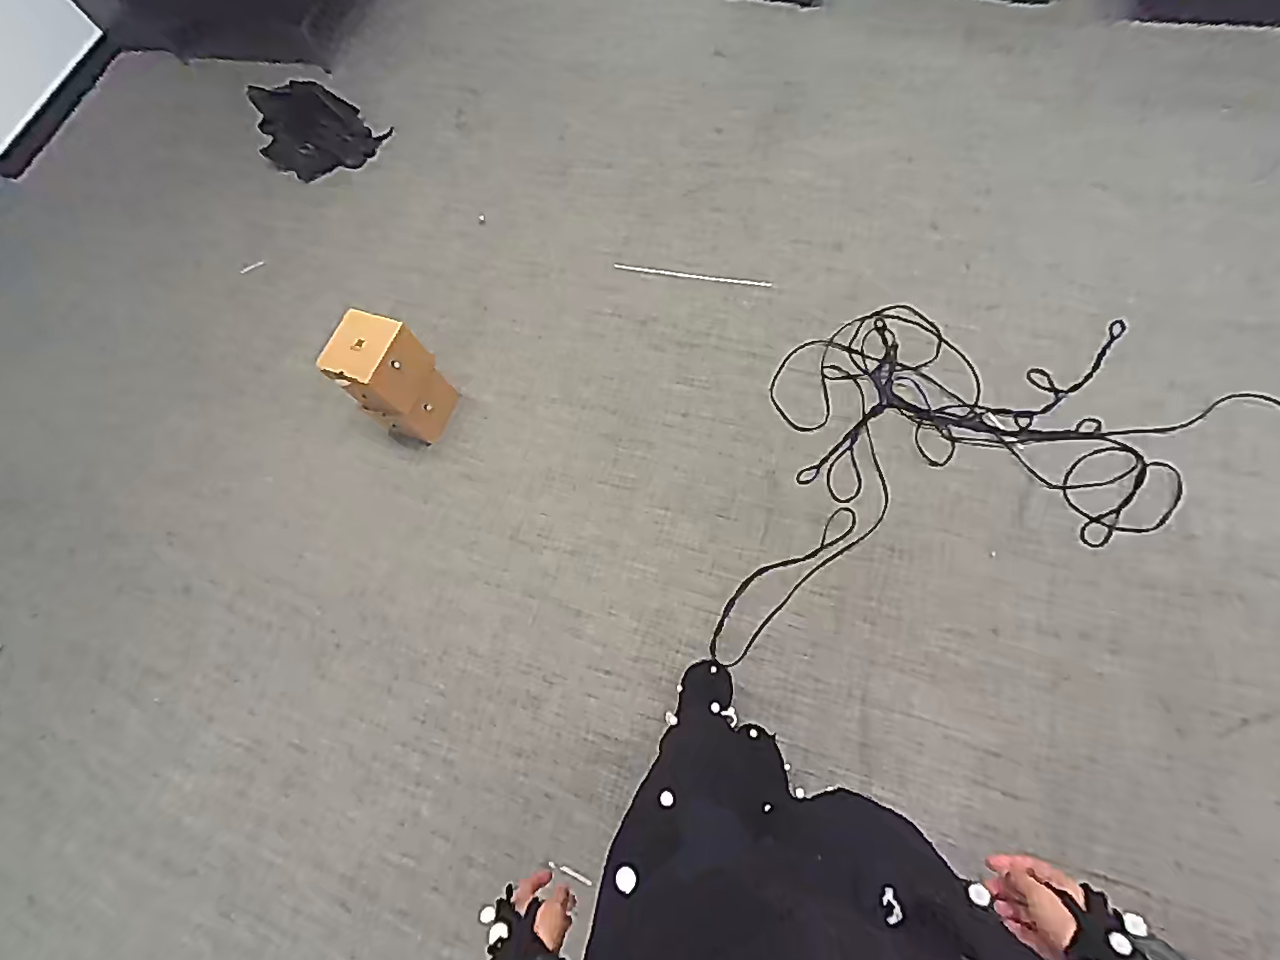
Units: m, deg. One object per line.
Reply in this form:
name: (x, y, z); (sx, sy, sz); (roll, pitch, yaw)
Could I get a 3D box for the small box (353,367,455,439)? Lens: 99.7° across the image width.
small box: (-0.648, -0.235, 1.509); (0.168, 0.176, 0.179); (17, 74, 15)

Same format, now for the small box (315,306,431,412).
small box: (-0.657, -0.300, 1.358); (0.168, 0.176, 0.179); (18, 74, 15)
